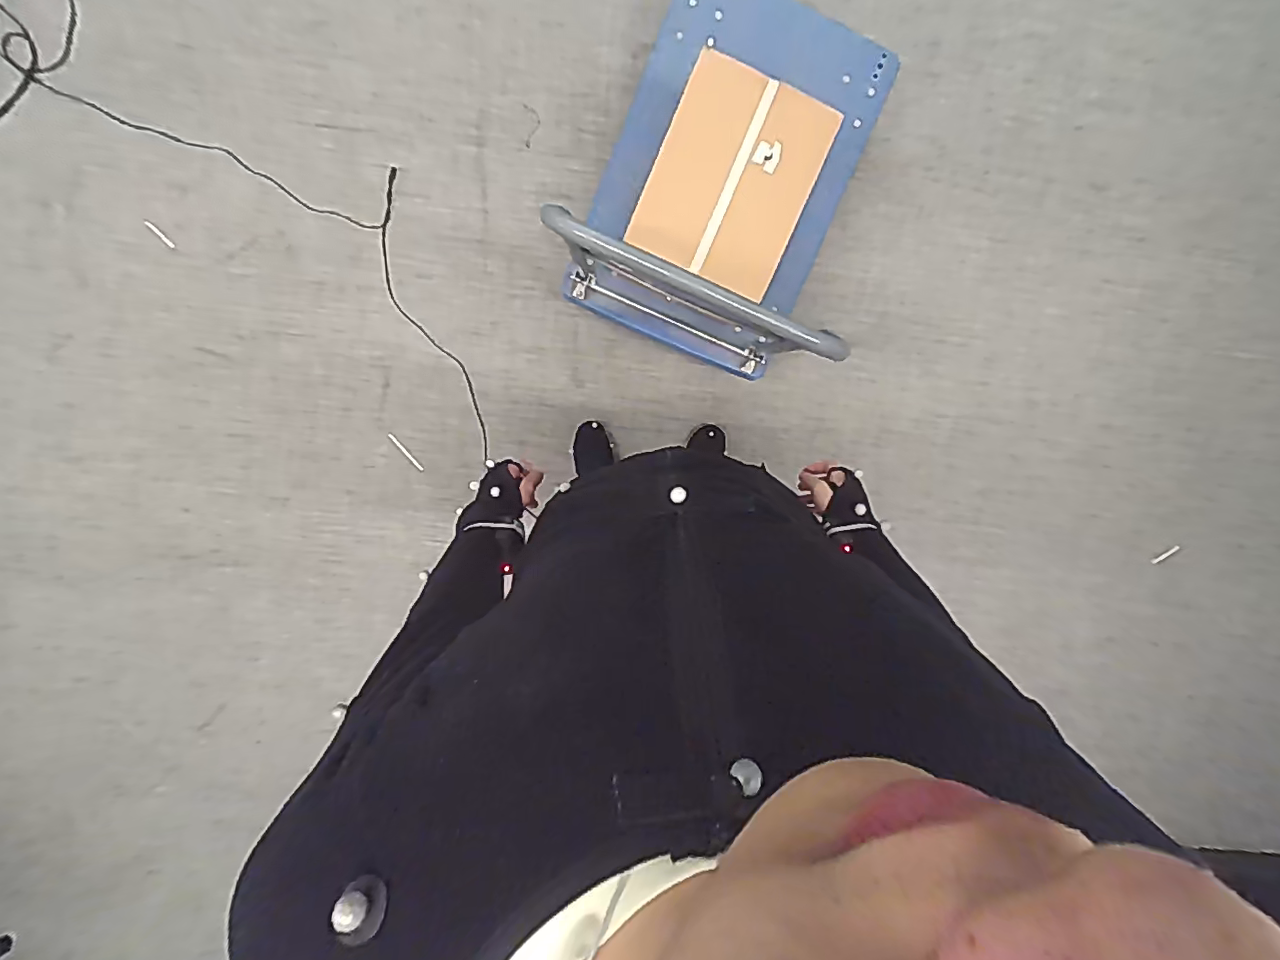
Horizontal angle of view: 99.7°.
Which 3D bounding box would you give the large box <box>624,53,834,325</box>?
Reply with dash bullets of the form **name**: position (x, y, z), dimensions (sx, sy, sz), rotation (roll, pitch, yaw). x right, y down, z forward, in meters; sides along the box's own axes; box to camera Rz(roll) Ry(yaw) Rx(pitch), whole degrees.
- **large box**: position (0.176, -0.627, 1.248), dimensions (0.320, 0.320, 0.408), rotation (23, 95, -5)
